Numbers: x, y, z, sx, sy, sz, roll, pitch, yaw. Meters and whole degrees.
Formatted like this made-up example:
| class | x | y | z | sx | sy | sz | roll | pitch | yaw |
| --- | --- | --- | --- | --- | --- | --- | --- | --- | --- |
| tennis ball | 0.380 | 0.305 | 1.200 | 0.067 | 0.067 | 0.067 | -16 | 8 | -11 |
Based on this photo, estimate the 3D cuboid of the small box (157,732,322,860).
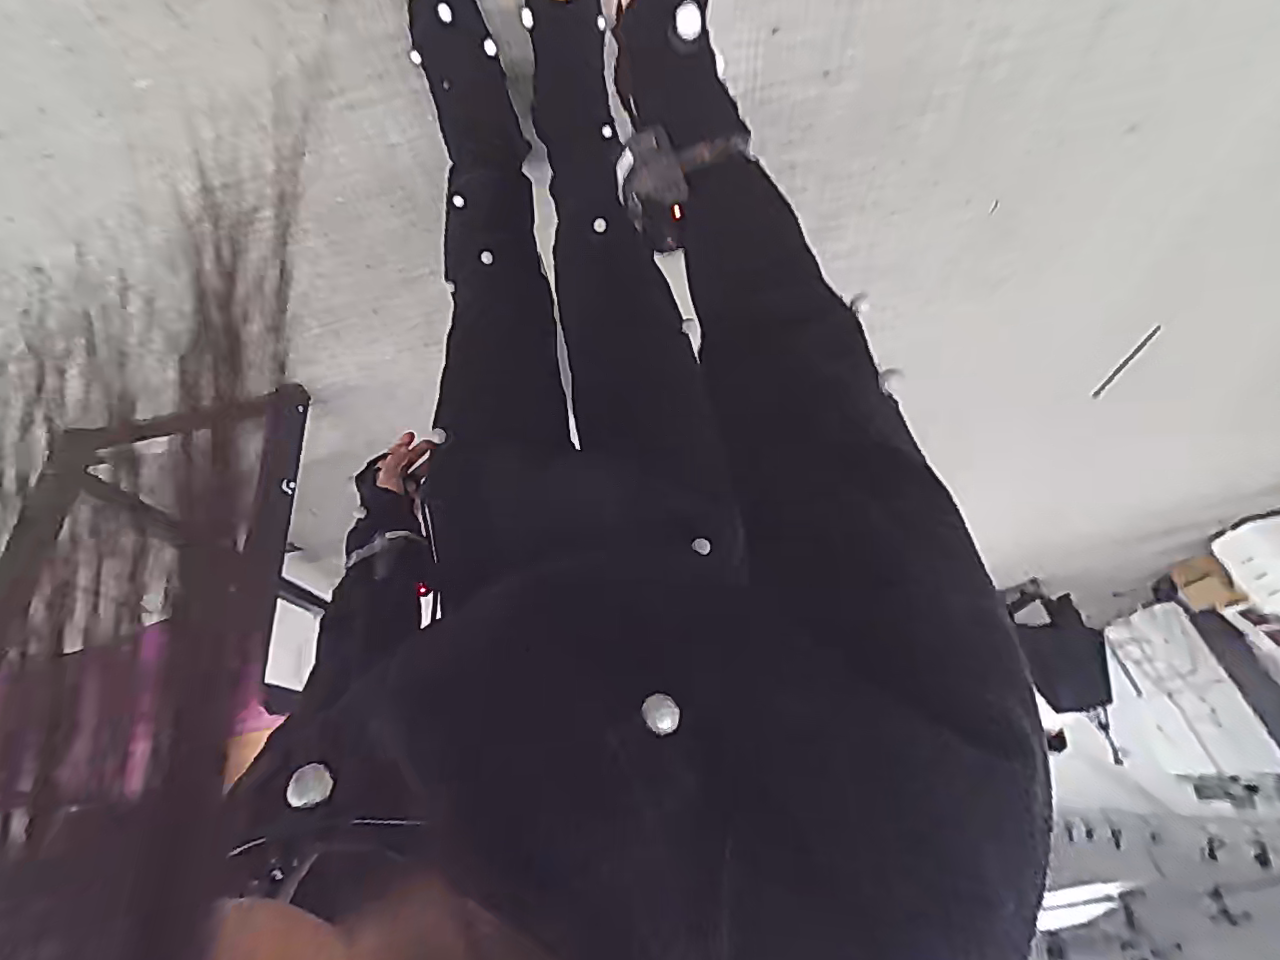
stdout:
| class | x | y | z | sx | sy | sz | roll | pitch | yaw |
| --- | --- | --- | --- | --- | --- | --- | --- | --- | --- |
| small box | -0.725 | 0.581 | 1.003 | 0.179 | 0.176 | 0.168 | -12 | 151 | 0 |
